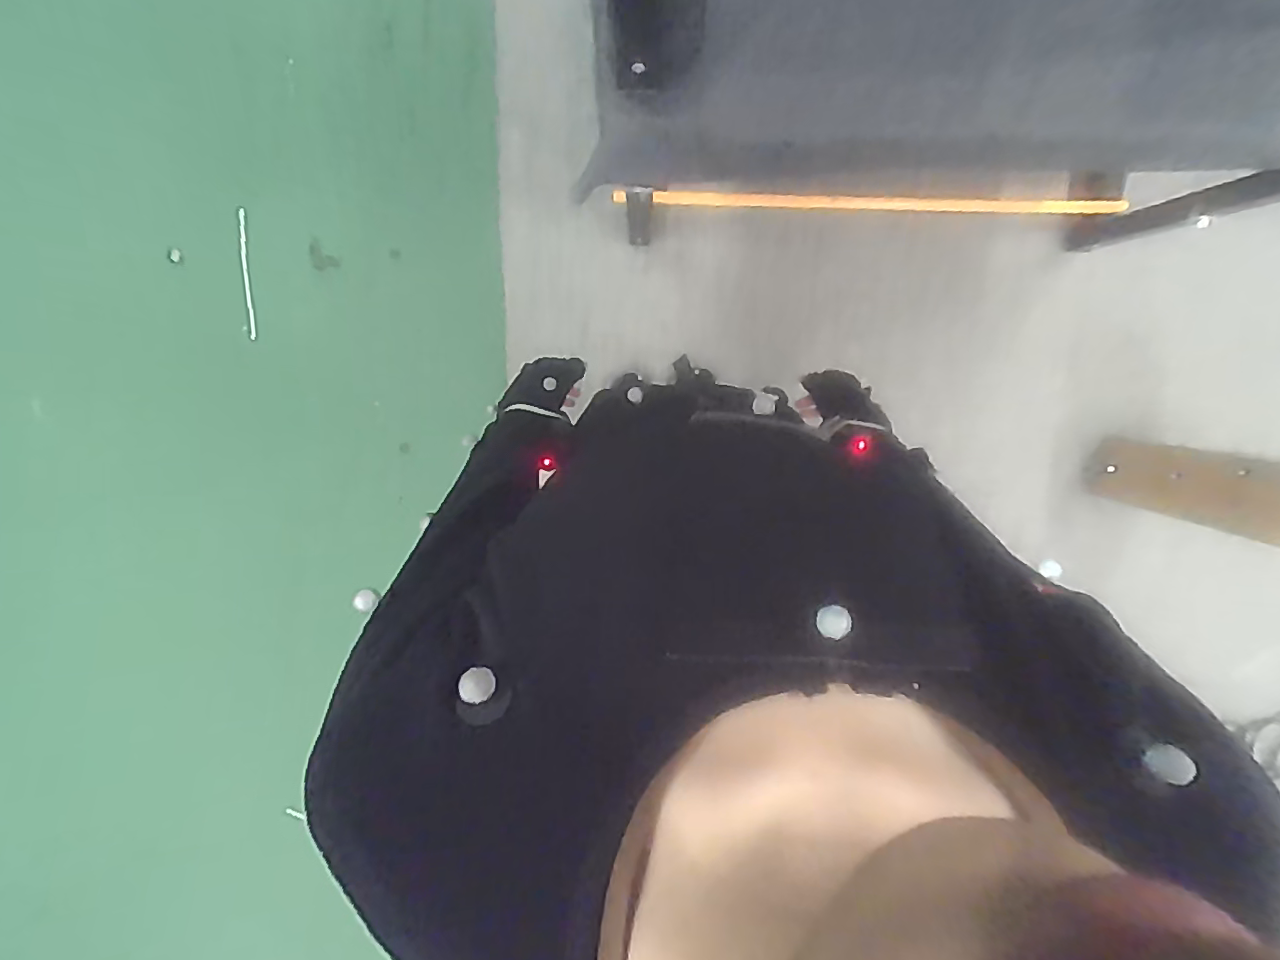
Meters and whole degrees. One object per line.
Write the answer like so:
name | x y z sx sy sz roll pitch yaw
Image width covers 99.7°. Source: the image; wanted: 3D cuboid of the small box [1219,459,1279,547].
small box | 1.344 0.054 1.084 0.179 0.176 0.168 4 102 -1

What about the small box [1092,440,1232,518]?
small box | 1.344 -0.008 1.405 0.179 0.176 0.168 7 101 -1
